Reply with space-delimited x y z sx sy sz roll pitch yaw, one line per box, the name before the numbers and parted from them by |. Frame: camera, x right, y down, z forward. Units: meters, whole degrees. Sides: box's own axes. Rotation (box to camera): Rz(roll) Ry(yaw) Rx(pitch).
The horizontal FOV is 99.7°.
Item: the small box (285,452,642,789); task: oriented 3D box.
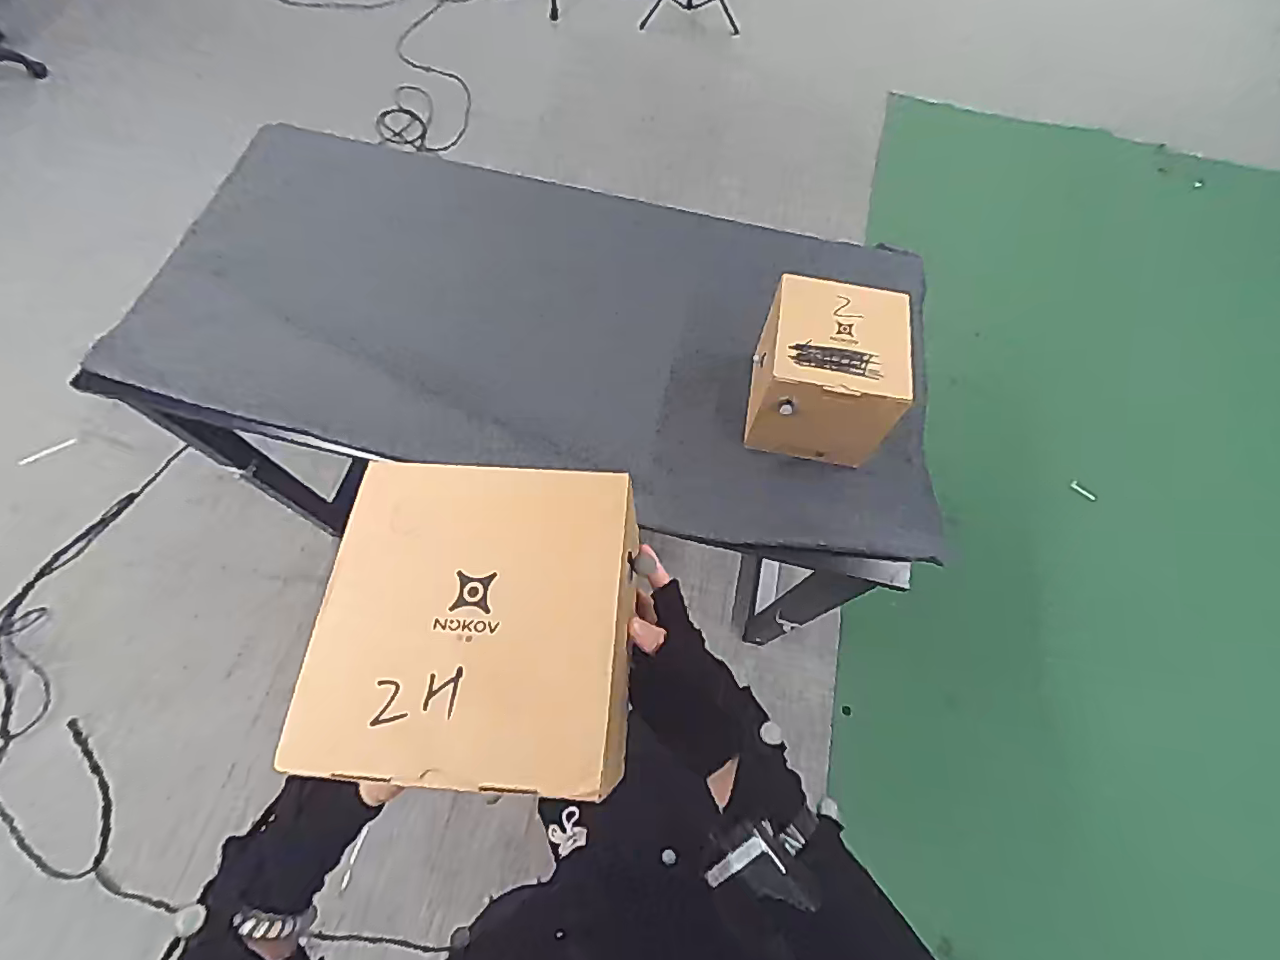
small box | -0.087 0.101 0.371 0.168 0.176 0.179 3 64 4
